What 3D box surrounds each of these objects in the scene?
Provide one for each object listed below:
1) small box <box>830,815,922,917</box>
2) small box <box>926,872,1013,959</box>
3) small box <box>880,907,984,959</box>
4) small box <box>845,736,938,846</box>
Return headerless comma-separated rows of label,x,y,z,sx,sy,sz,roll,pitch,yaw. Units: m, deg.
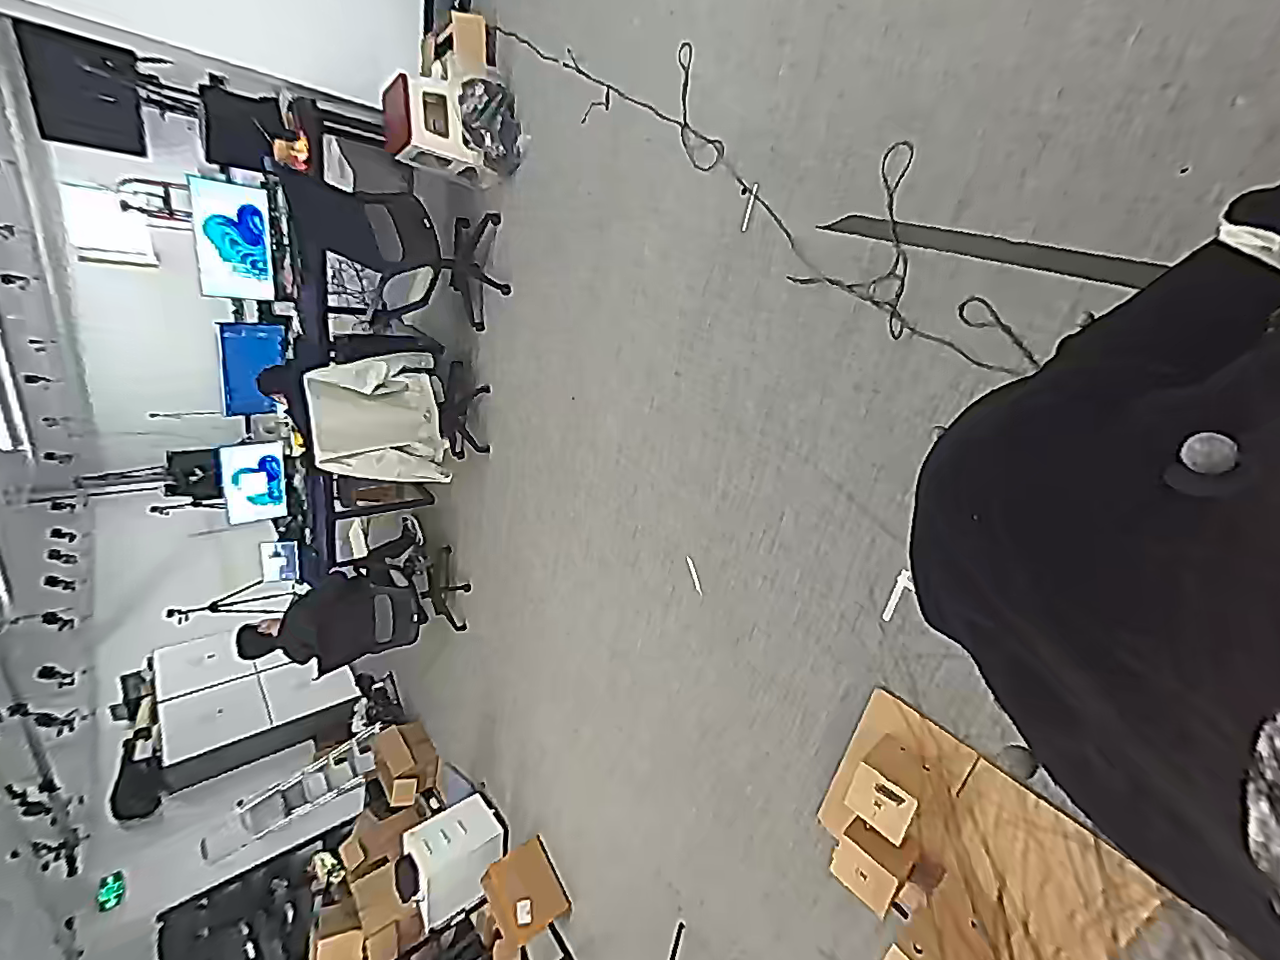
small box,0.702,1.122,1.610,0.179,0.176,0.168,27,118,42
small box,0.860,1.213,1.446,0.179,0.176,0.168,27,117,41
small box,0.722,1.226,1.352,0.179,0.176,0.168,32,121,40
small box,0.718,0.872,1.535,0.168,0.176,0.179,28,118,42
